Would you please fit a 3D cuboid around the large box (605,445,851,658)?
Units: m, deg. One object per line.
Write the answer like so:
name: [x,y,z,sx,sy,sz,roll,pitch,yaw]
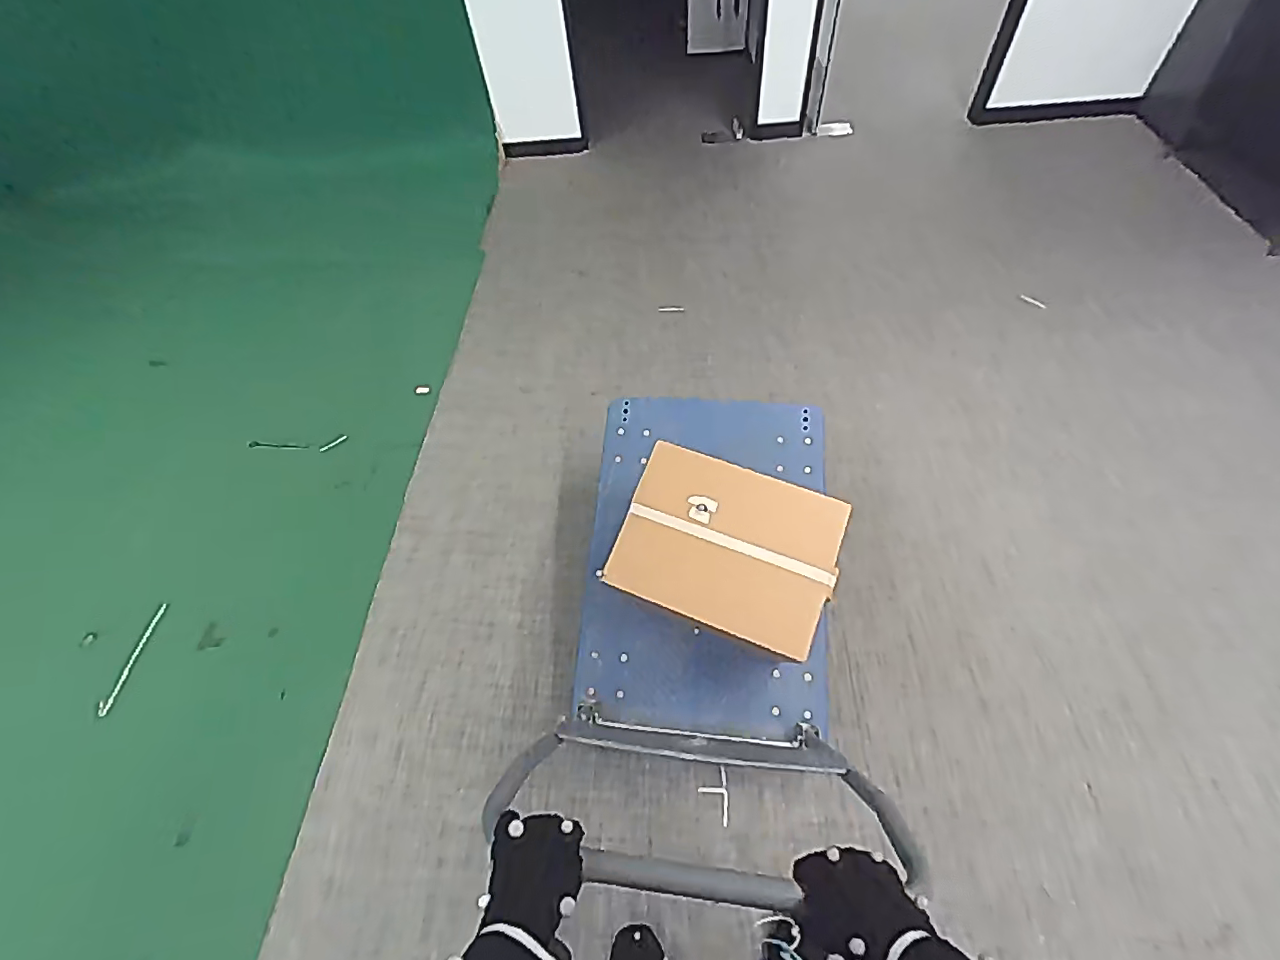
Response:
large box: [0.189,0.165,1.175,0.408,0.320,0.320,19,75,13]
